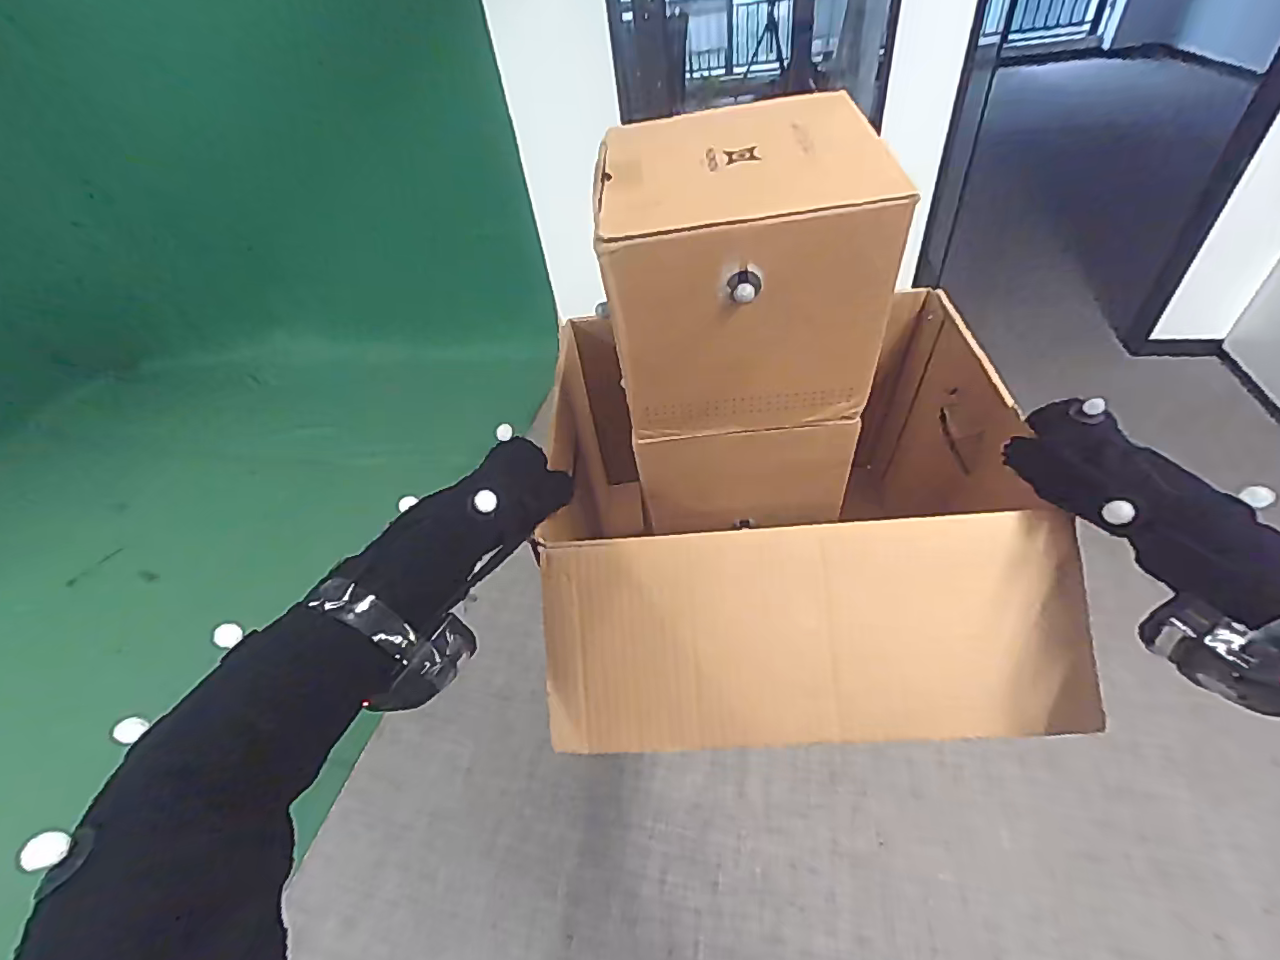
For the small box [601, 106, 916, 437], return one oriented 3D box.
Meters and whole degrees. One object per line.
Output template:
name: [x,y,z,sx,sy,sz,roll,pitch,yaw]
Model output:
small box: [0.073,-0.148,0.408,0.179,0.176,0.168,-5,51,4]
